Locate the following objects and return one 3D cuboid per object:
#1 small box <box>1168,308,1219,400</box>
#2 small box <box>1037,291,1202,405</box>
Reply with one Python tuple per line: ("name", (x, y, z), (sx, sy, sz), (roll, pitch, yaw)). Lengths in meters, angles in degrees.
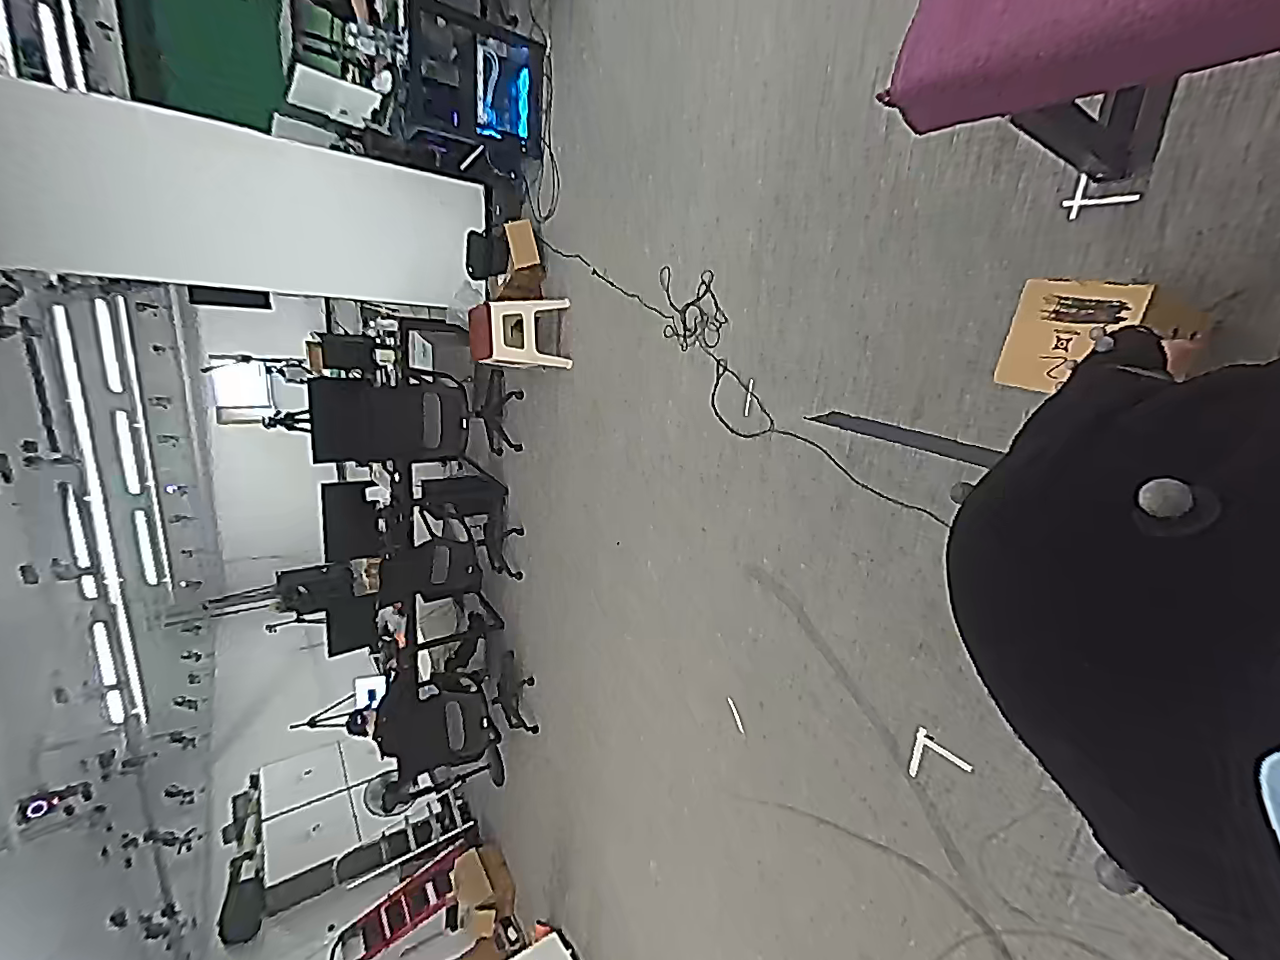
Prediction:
("small box", (1.001, -0.262, 1.082), (0.168, 0.176, 0.179), (34, 123, 47))
("small box", (0.871, -0.240, 0.982), (0.168, 0.176, 0.179), (28, 118, 50))
